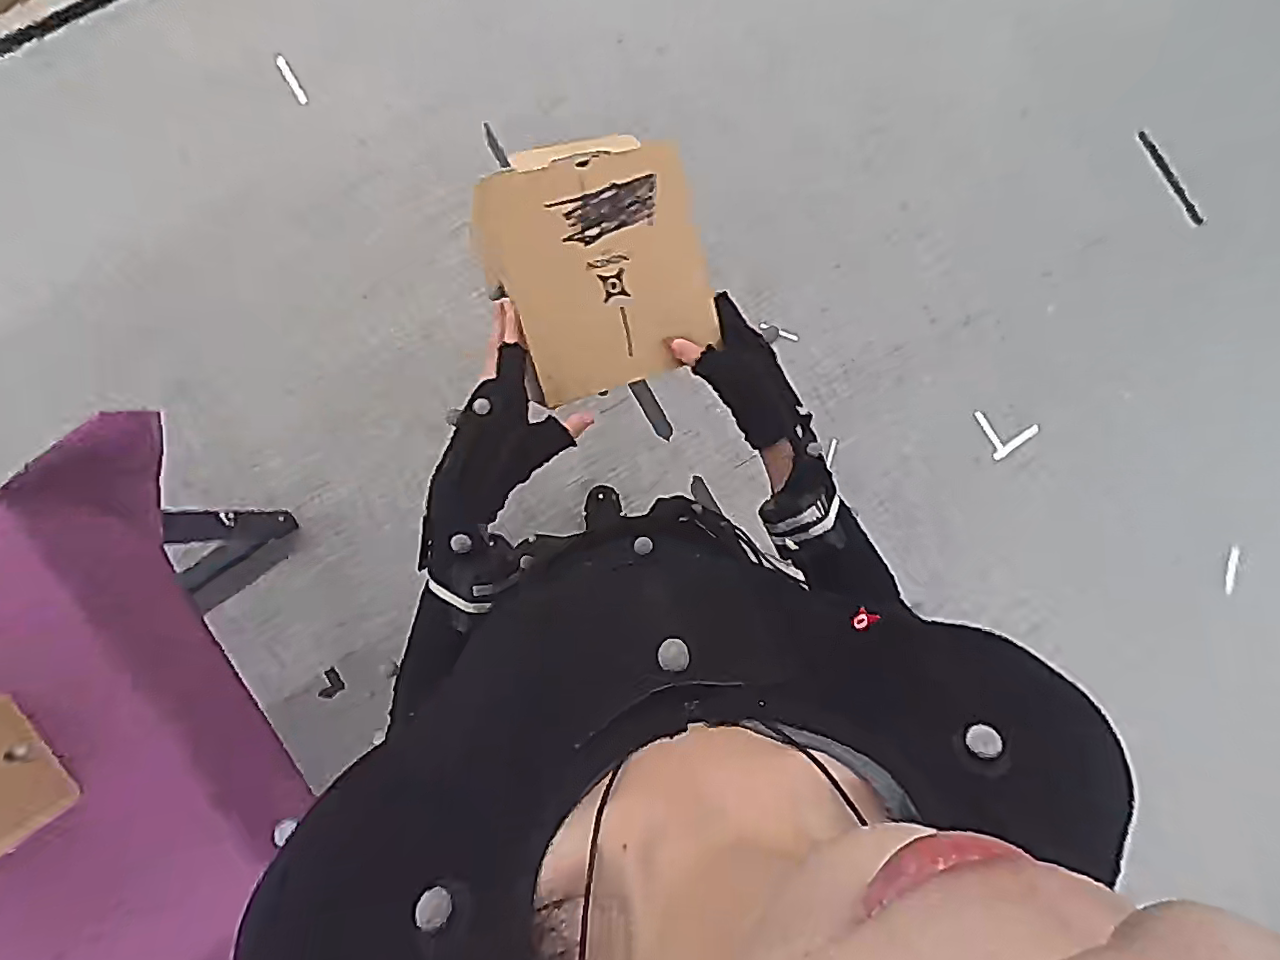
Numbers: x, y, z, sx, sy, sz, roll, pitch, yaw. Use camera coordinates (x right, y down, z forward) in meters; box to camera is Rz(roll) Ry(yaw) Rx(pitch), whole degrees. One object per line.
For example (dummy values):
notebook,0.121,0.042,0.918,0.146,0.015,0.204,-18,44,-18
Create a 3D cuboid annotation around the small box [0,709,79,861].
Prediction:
small box,-0.844,0.395,0.628,0.168,0.176,0.179,-37,90,-5
